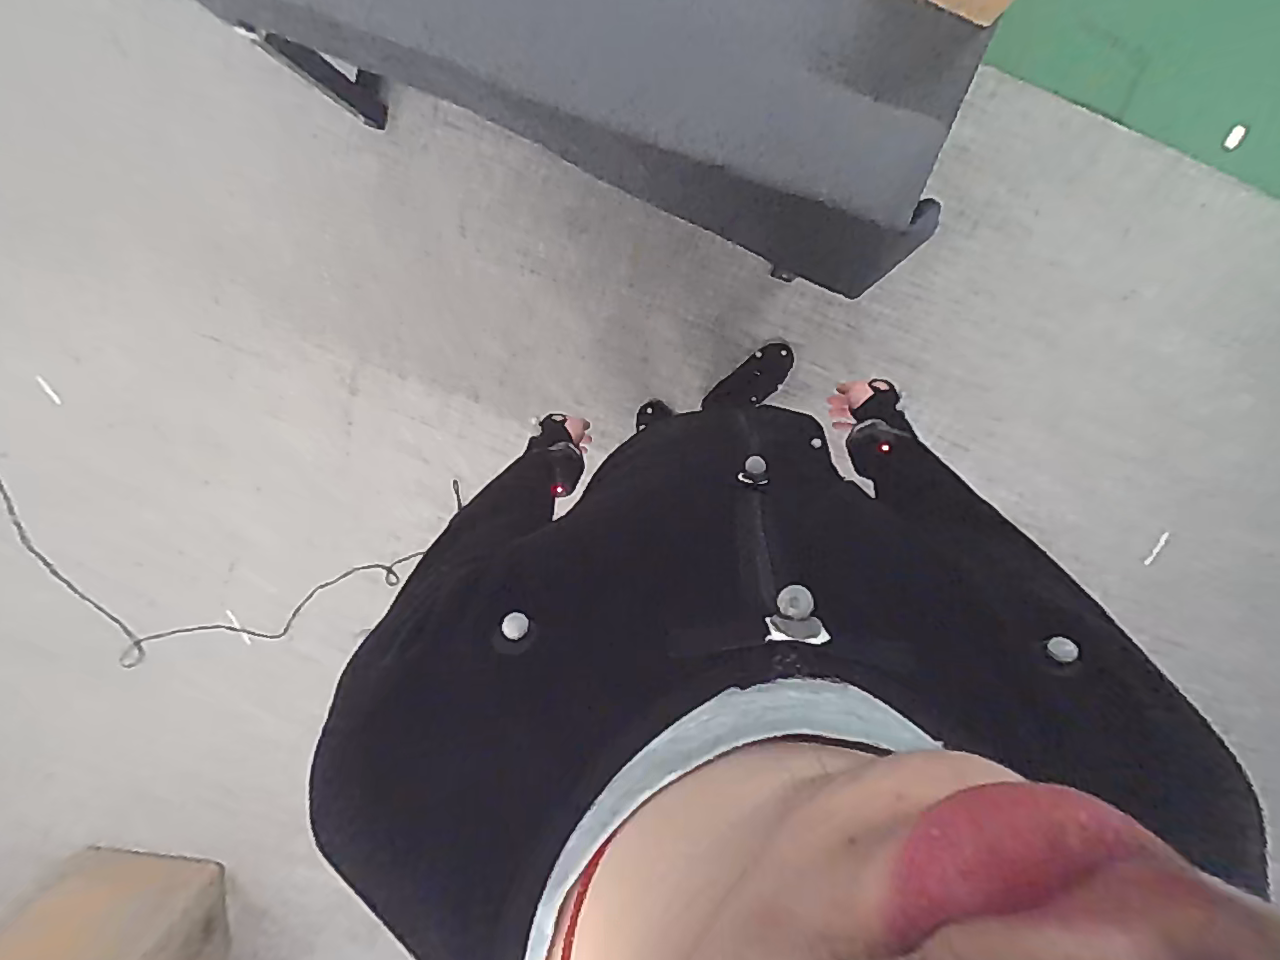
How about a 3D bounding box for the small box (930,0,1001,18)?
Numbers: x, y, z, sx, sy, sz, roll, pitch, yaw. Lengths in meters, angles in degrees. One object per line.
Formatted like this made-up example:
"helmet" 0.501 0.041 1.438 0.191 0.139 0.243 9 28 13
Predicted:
"small box" 0.372 -0.643 0.564 0.179 0.176 0.168 22 103 -4
